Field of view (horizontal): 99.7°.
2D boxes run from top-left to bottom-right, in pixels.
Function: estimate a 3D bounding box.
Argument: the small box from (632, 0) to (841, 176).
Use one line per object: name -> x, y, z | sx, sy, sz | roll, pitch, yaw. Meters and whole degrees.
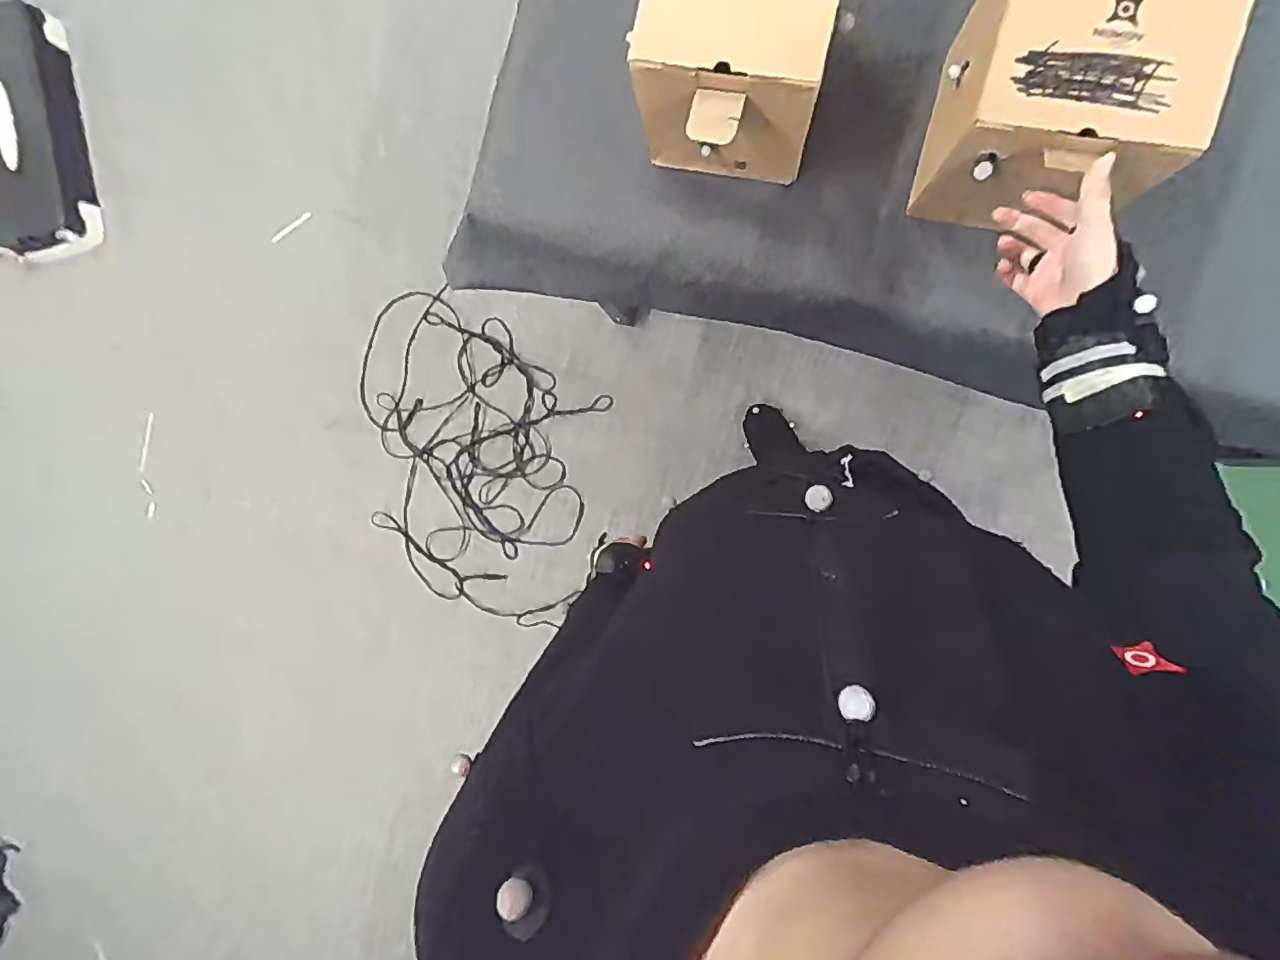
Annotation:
small box -> 0.099, -0.432, 0.521 | 0.168, 0.176, 0.179 | 13, 95, 7
